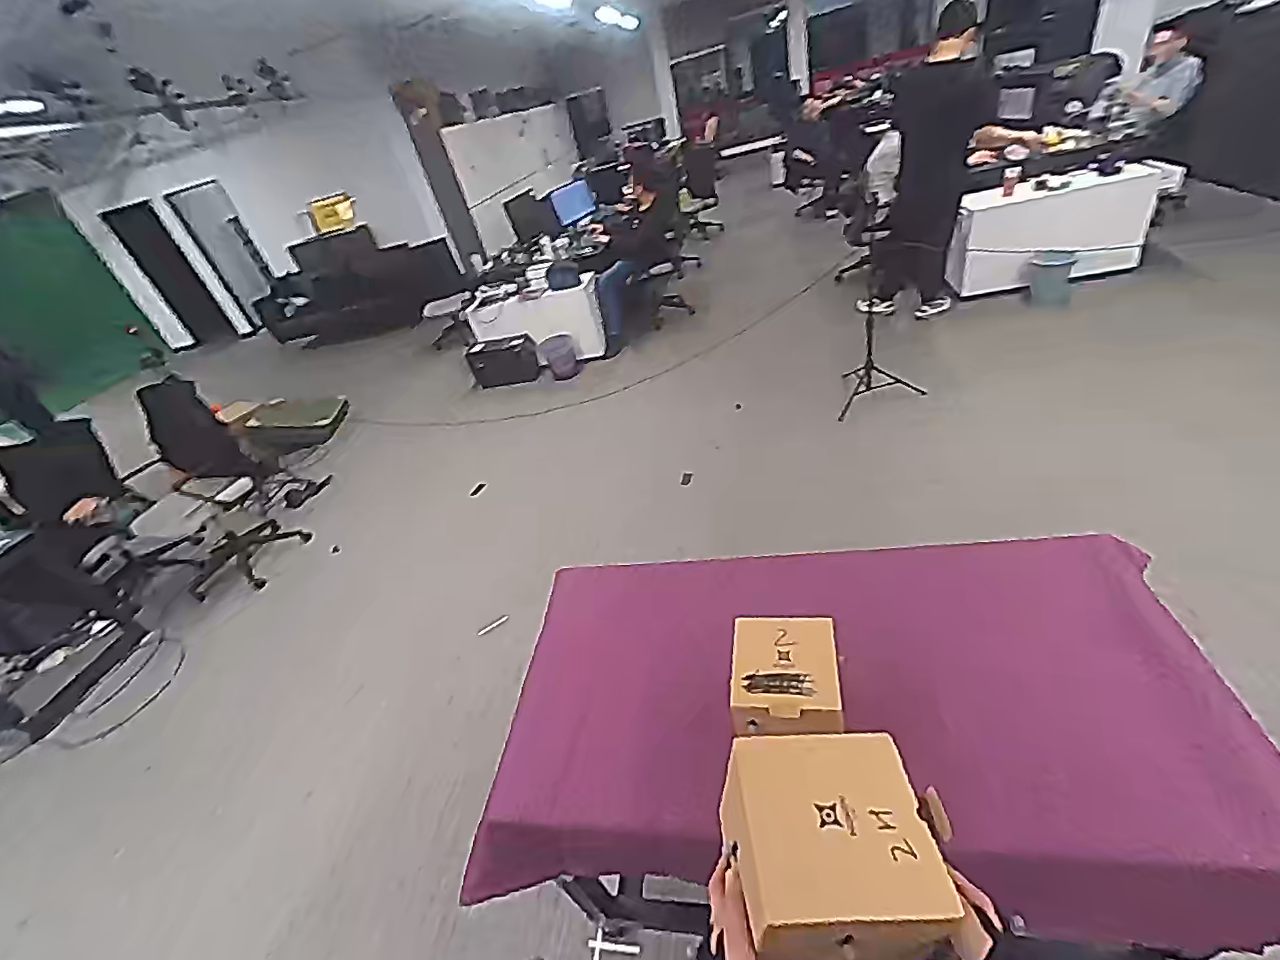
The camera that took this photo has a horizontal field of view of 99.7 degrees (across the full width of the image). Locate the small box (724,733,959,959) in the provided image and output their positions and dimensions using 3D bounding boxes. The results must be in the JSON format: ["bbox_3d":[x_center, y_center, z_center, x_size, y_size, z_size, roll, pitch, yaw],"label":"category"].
[{"bbox_3d":[0.187,0.391,0.570,0.179,0.176,0.168,0,35,-1],"label":"small box"}]
